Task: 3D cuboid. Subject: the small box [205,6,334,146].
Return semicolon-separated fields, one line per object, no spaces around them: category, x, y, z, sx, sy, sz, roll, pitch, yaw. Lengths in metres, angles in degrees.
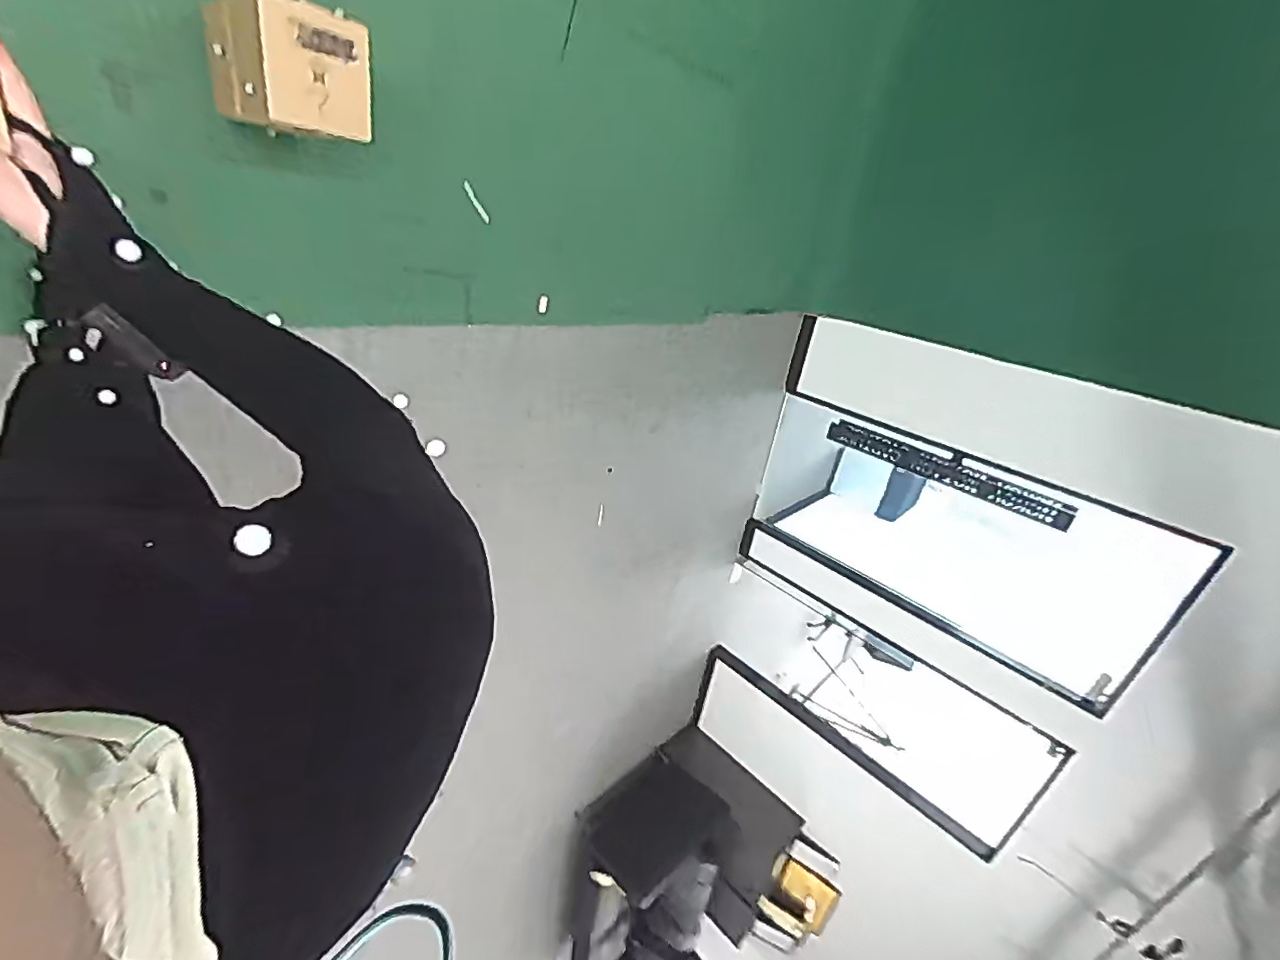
small box;-0.720;-0.775;1.054;0.168;0.176;0.179;-15;125;-45

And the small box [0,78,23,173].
small box;-0.572;-0.322;0.366;0.168;0.176;0.179;-19;124;-47
